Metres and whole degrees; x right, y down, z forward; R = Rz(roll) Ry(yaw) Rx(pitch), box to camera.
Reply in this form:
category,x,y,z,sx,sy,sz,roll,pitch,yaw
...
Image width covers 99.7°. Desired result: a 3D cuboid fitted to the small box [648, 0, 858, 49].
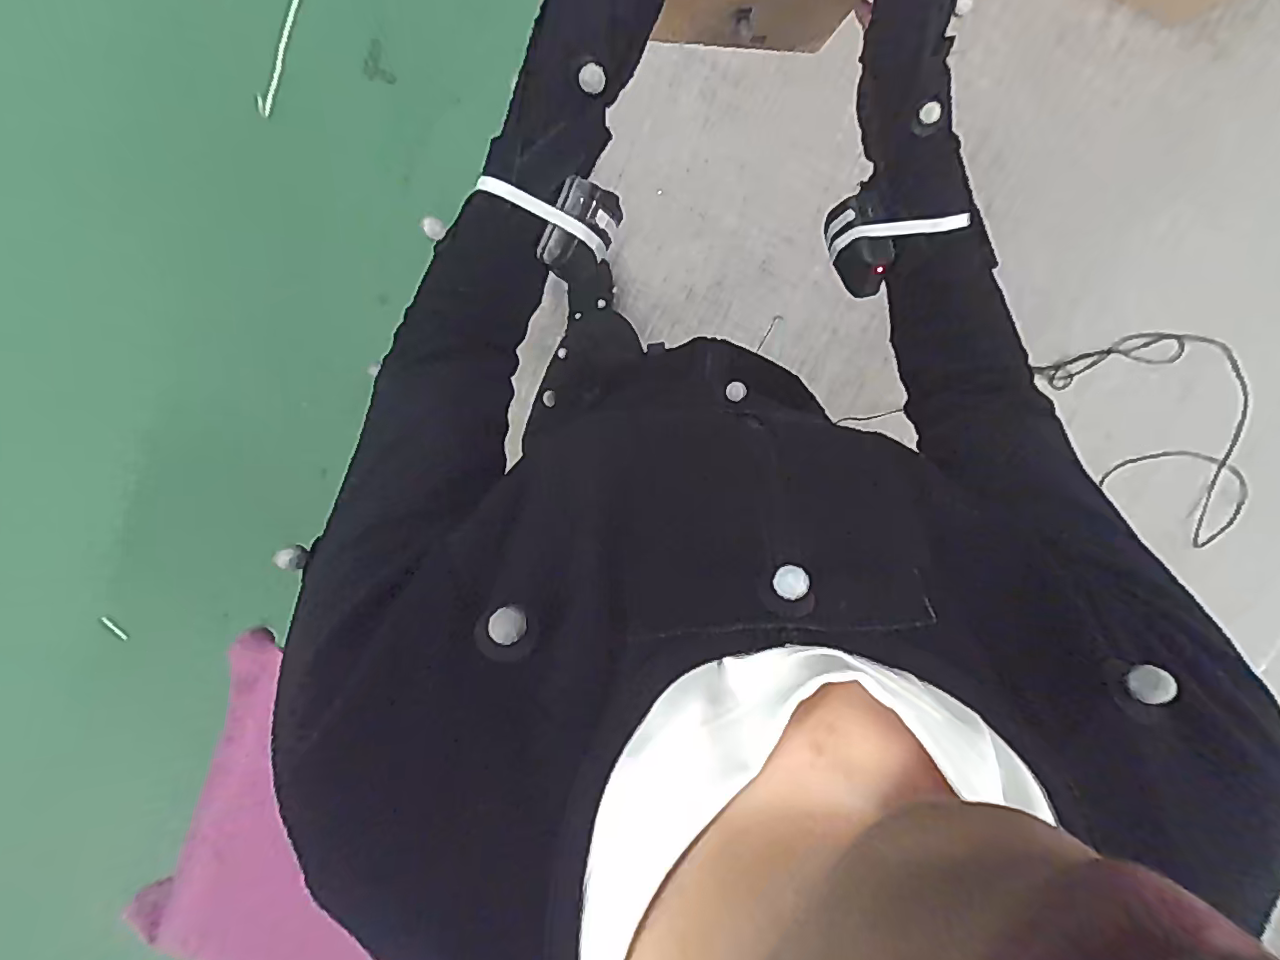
category,x,y,z,sx,sy,sz,roll,pitch,yaw
small box,0.096,-0.457,0.387,0.168,0.176,0.179,2,107,-5
